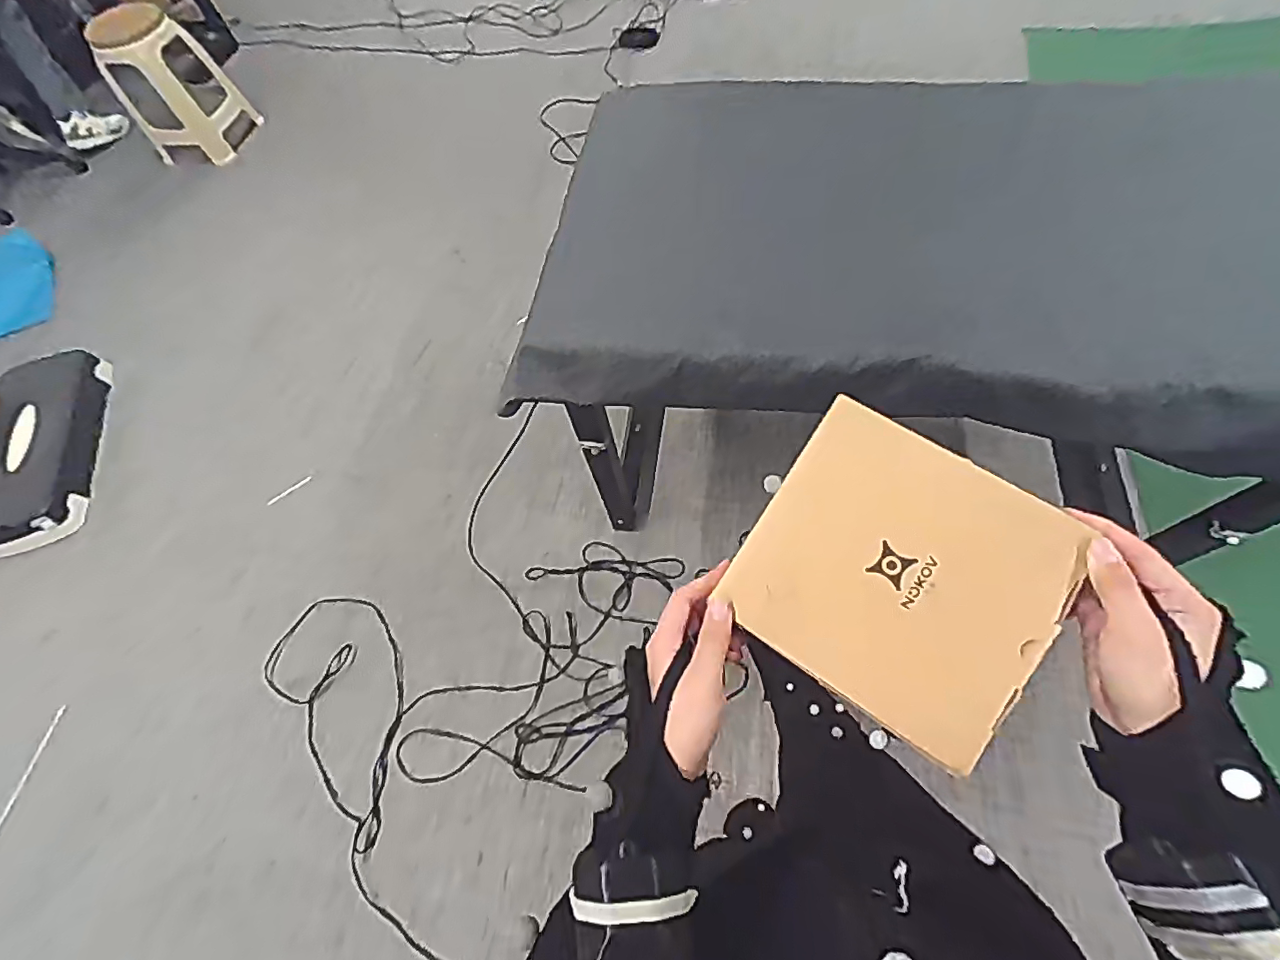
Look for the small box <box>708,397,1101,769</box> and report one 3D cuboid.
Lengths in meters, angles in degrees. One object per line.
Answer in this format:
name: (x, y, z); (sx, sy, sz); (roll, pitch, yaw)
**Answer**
small box: (0.169, 0.072, 0.407); (0.179, 0.176, 0.168); (32, 85, 14)
